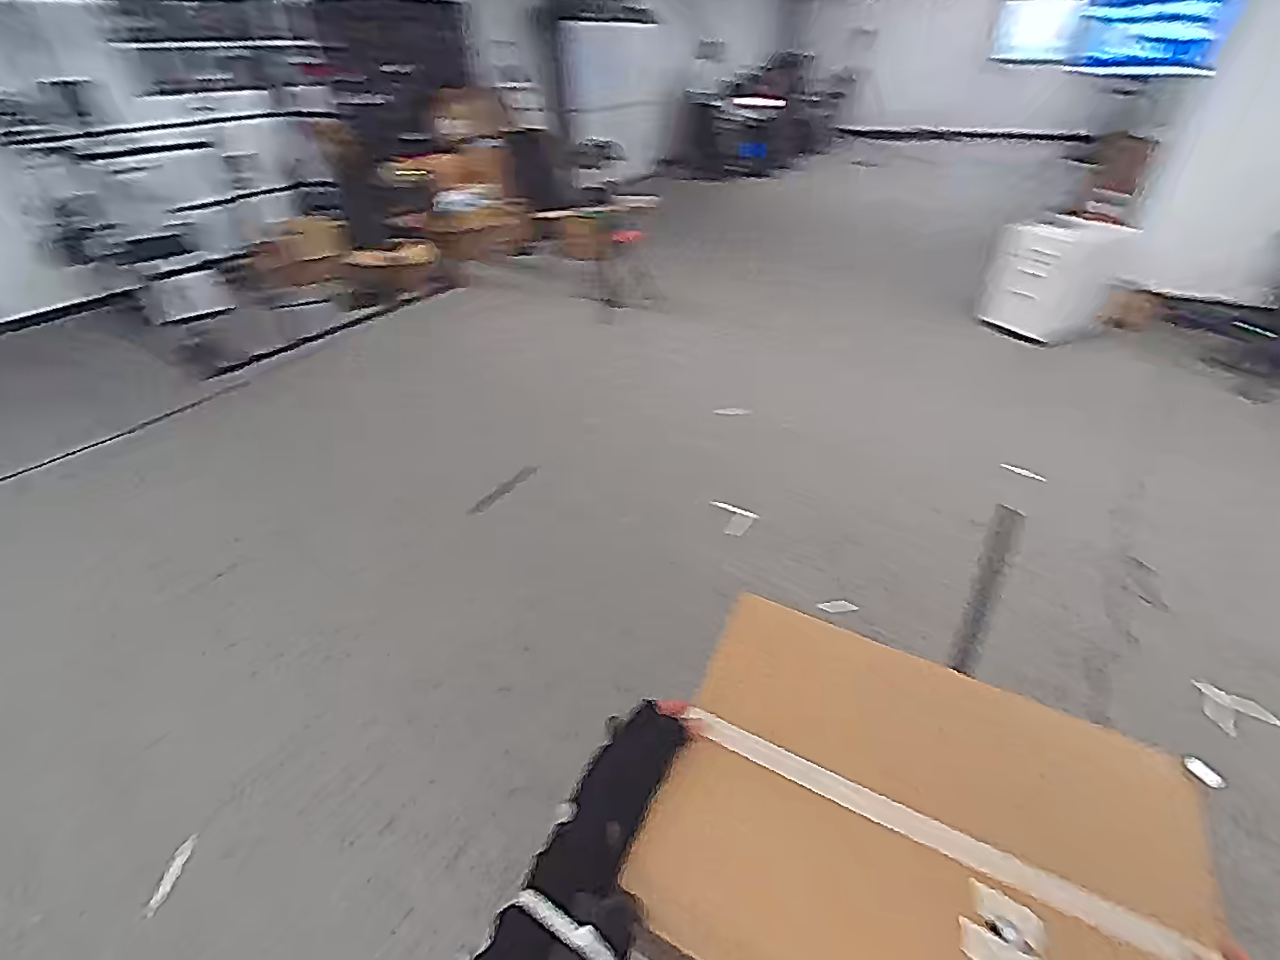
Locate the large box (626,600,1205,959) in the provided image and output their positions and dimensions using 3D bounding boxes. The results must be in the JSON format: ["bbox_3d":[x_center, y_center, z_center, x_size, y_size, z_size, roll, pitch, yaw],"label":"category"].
[{"bbox_3d":[0.231,0.394,0.559,0.408,0.320,0.320,19,49,20],"label":"large box"}]
